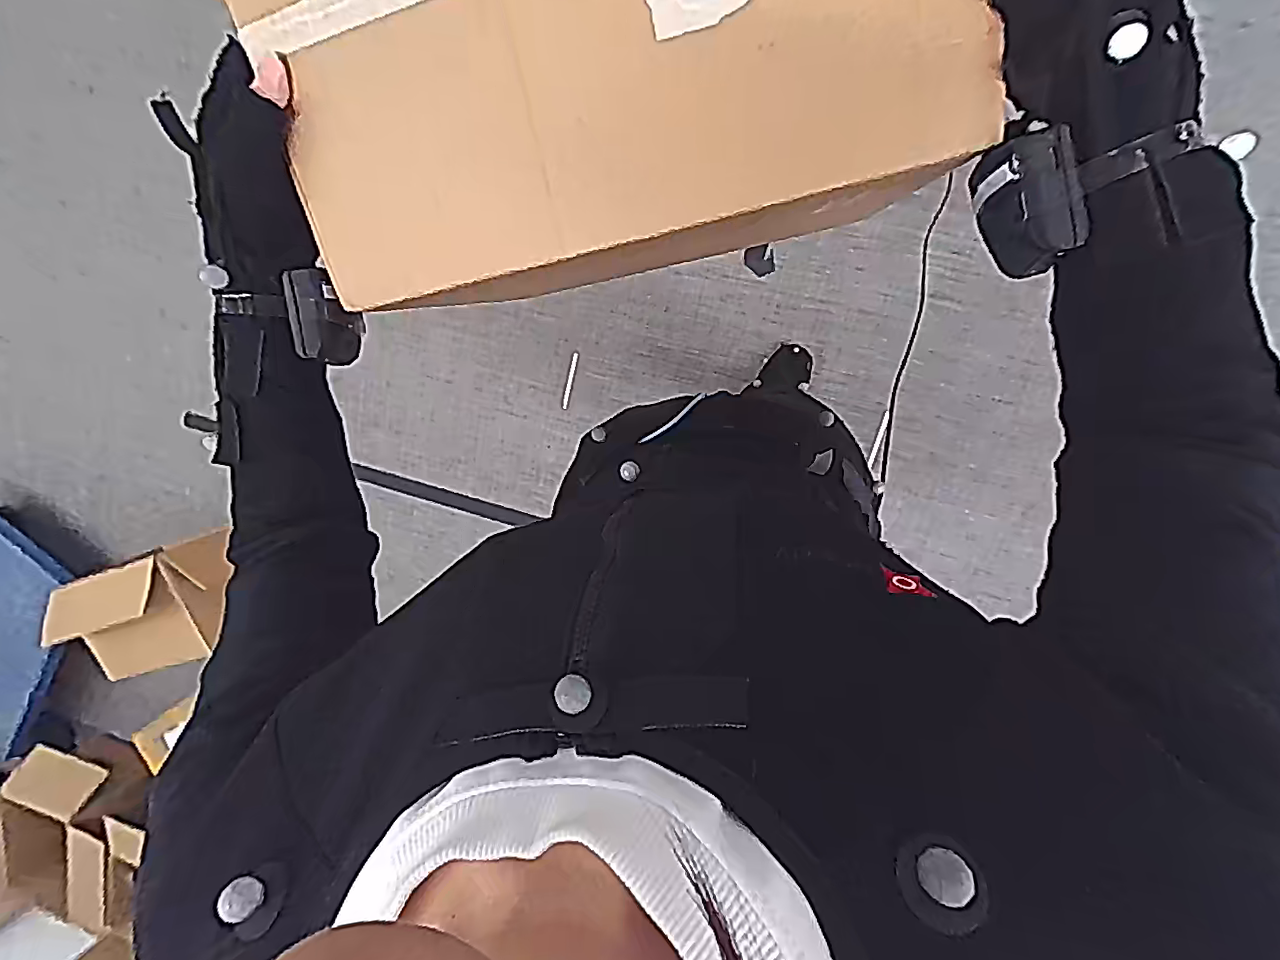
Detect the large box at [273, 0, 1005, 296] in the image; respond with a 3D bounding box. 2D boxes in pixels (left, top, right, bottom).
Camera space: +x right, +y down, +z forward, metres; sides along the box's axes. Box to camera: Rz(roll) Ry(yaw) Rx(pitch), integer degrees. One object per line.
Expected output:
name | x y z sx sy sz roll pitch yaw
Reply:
large box | -0.005 -0.349 0.427 0.408 0.320 0.320 -8 109 13
